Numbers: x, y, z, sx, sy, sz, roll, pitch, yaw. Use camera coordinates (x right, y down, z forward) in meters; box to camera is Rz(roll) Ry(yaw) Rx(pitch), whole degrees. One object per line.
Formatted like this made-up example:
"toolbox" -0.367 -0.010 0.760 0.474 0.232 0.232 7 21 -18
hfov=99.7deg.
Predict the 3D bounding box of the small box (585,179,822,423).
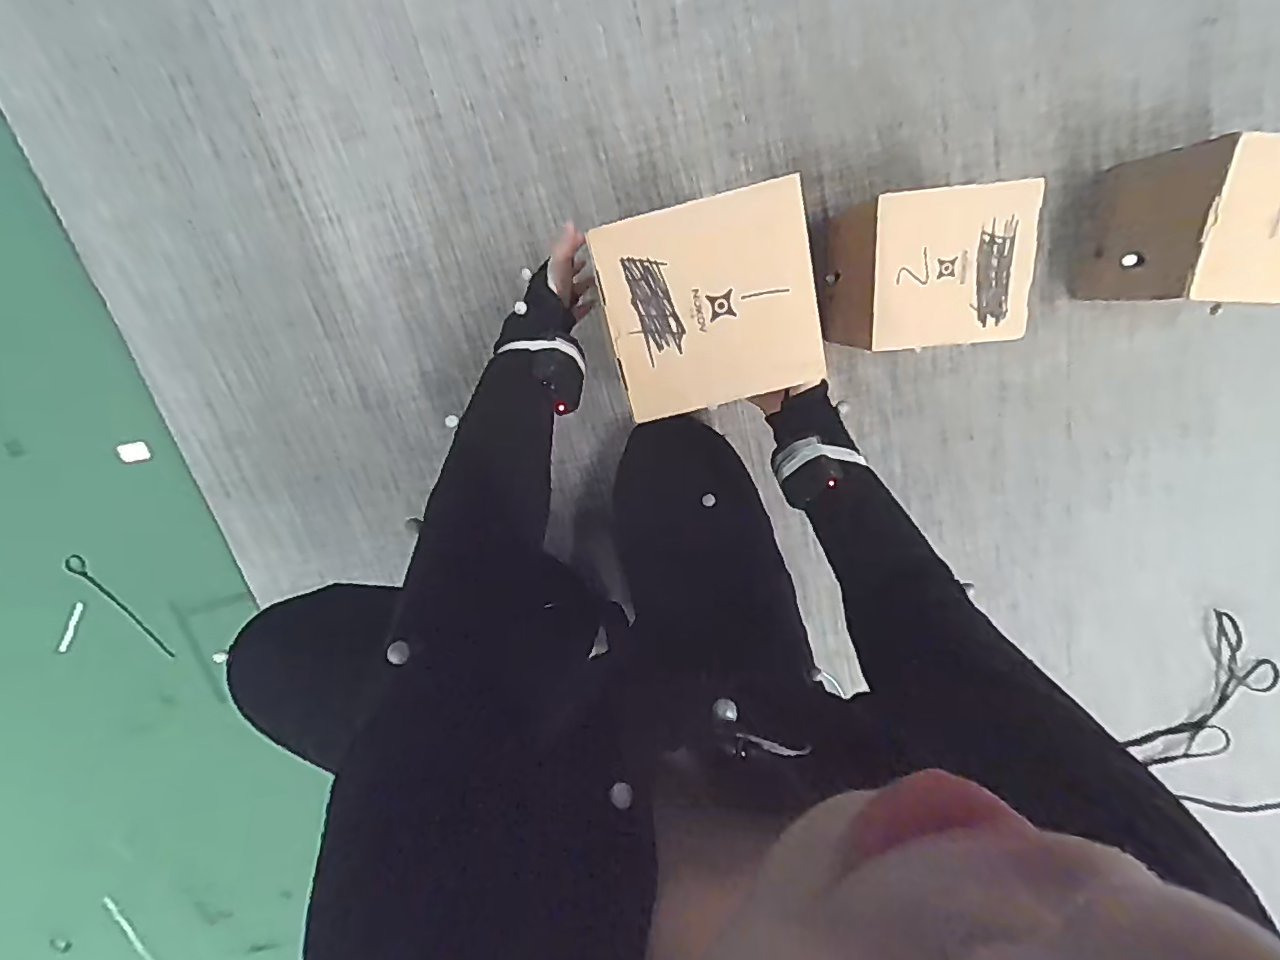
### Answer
"small box" 0.058 -0.166 0.529 0.179 0.176 0.168 -13 107 4

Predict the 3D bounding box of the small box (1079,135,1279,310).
"small box" 0.690 -0.294 0.651 0.179 0.176 0.168 2 108 0
